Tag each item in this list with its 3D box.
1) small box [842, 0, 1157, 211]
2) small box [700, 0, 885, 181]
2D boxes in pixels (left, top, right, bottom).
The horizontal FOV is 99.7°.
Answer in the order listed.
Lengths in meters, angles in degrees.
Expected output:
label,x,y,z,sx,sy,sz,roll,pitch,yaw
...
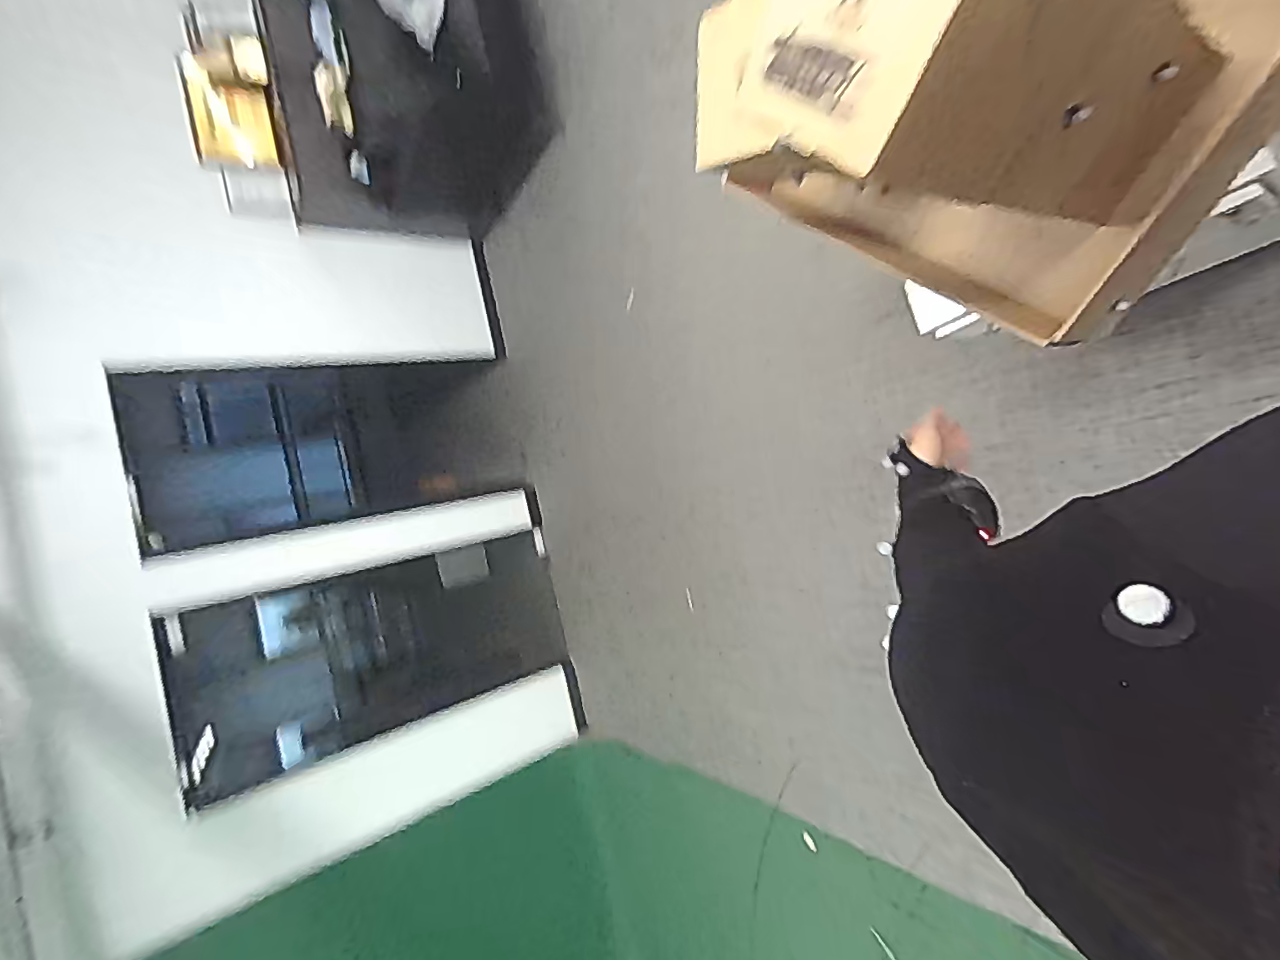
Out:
label,x,y,z,sx,sy,sz,roll,pitch,yaw
small box,0.346,-0.387,0.529,0.168,0.176,0.179,52,139,36
small box,0.197,-0.511,0.709,0.168,0.176,0.179,22,119,52
